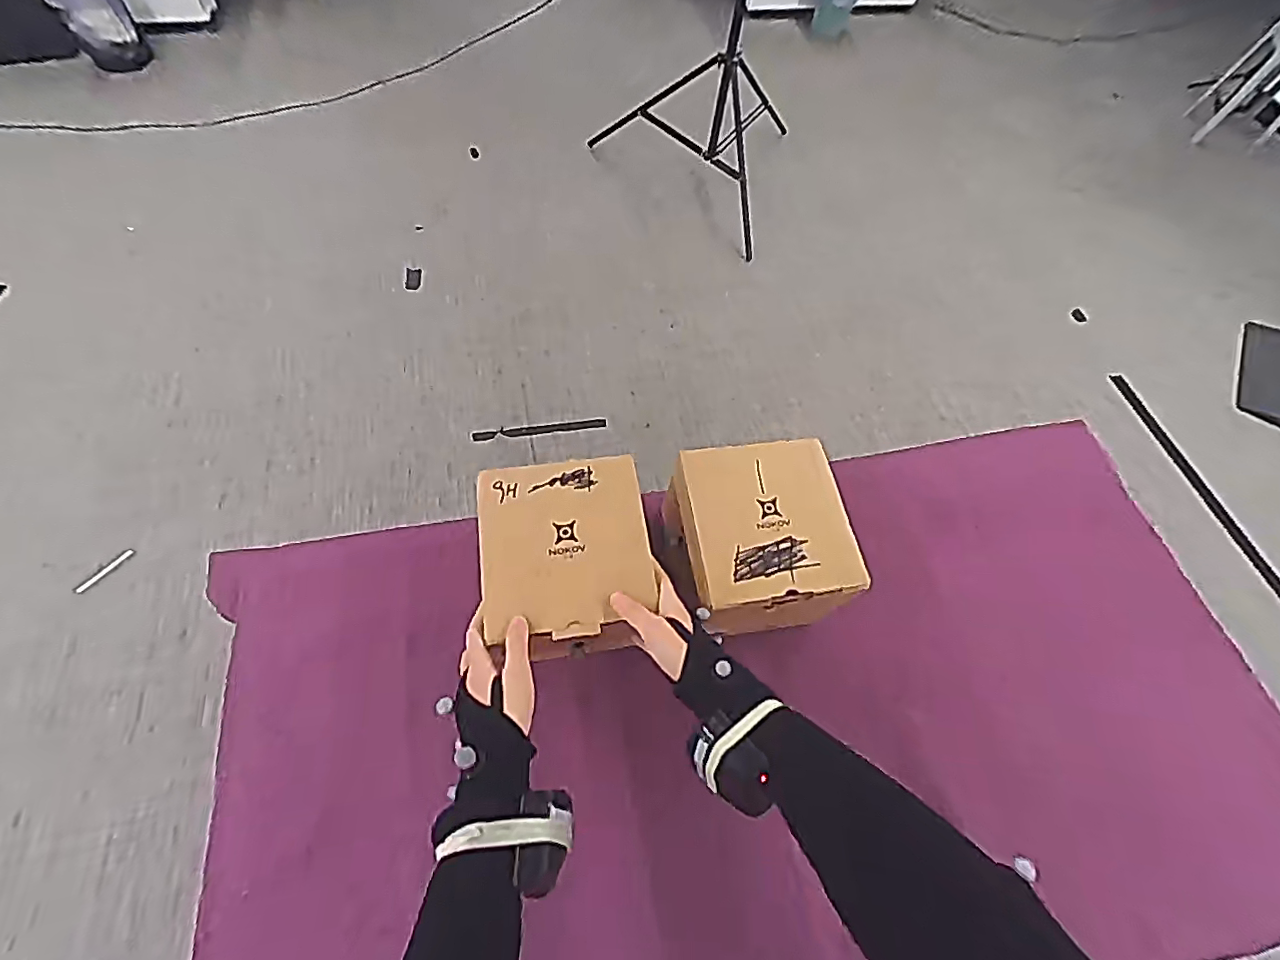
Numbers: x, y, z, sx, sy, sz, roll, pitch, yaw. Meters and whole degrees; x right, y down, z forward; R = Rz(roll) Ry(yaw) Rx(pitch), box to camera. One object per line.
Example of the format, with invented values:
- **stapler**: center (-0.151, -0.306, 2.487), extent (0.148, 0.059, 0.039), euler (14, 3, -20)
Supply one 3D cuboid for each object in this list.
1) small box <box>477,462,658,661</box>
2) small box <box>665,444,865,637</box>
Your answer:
- **small box**: center (-0.080, 0.100, 0.603), extent (0.168, 0.176, 0.179), euler (-7, 67, -8)
- **small box**: center (0.128, 0.079, 0.634), extent (0.168, 0.176, 0.179), euler (-6, 63, -8)
